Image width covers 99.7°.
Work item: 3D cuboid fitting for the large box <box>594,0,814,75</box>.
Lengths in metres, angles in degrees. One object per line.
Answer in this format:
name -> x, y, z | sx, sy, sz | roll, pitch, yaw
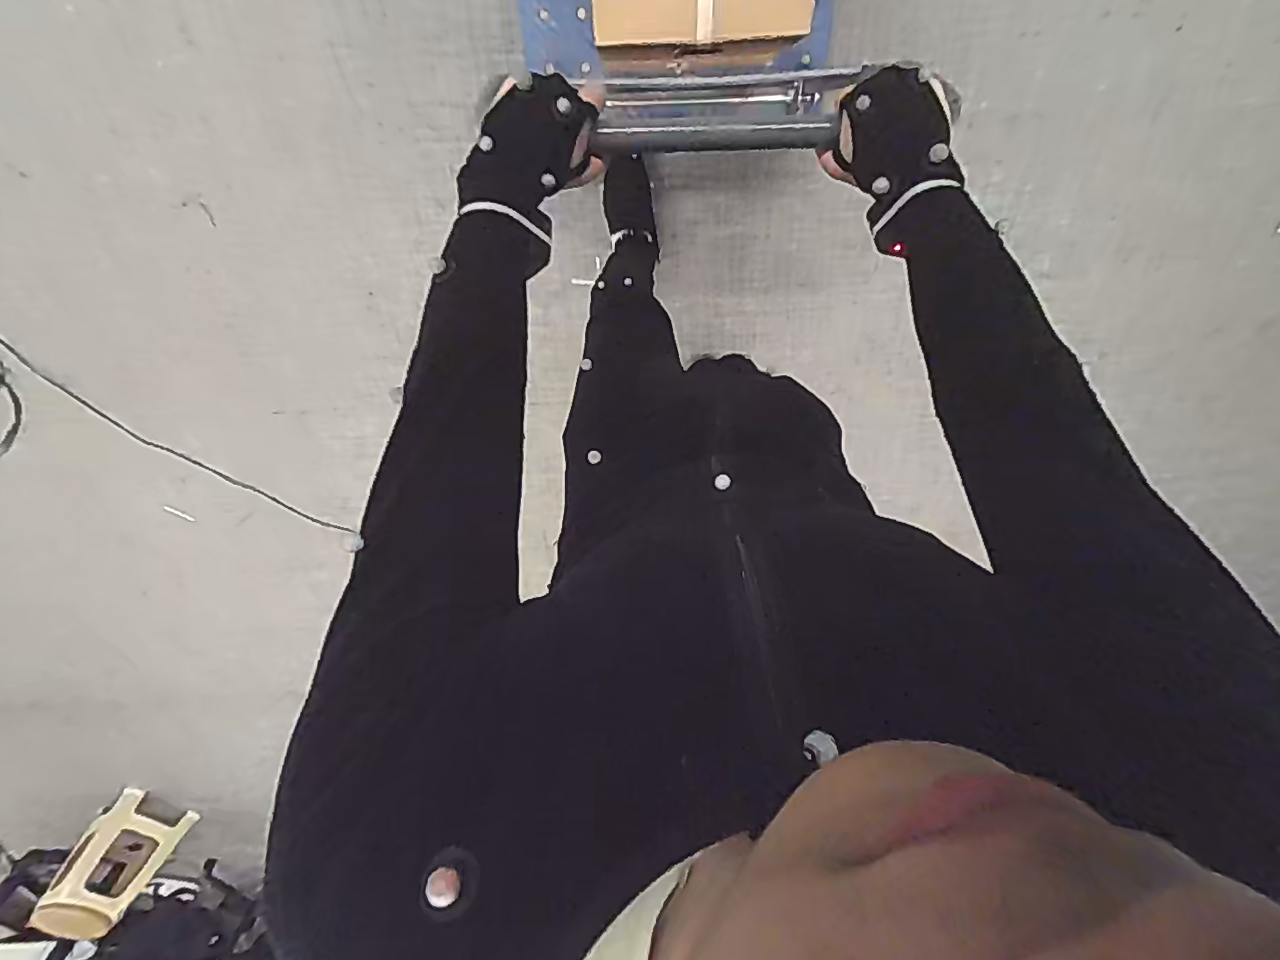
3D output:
large box -> 0.085, -0.884, 0.811 | 0.320, 0.320, 0.408 | -2, 121, 1
